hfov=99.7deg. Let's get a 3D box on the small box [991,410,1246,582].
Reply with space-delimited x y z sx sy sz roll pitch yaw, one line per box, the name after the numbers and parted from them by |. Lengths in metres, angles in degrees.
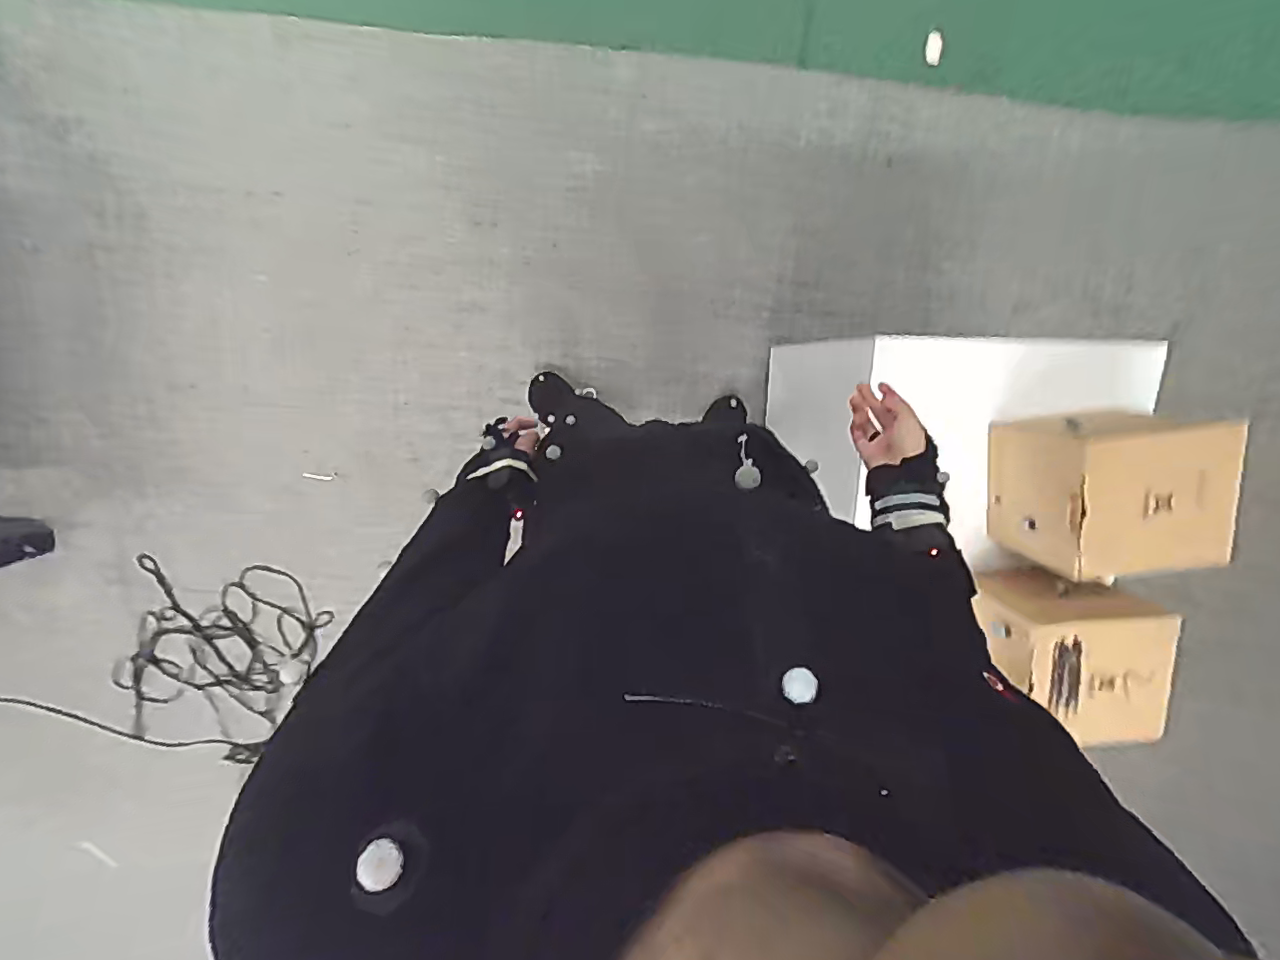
0.574 0.010 0.677 0.179 0.176 0.168 -8 104 0 | small box
